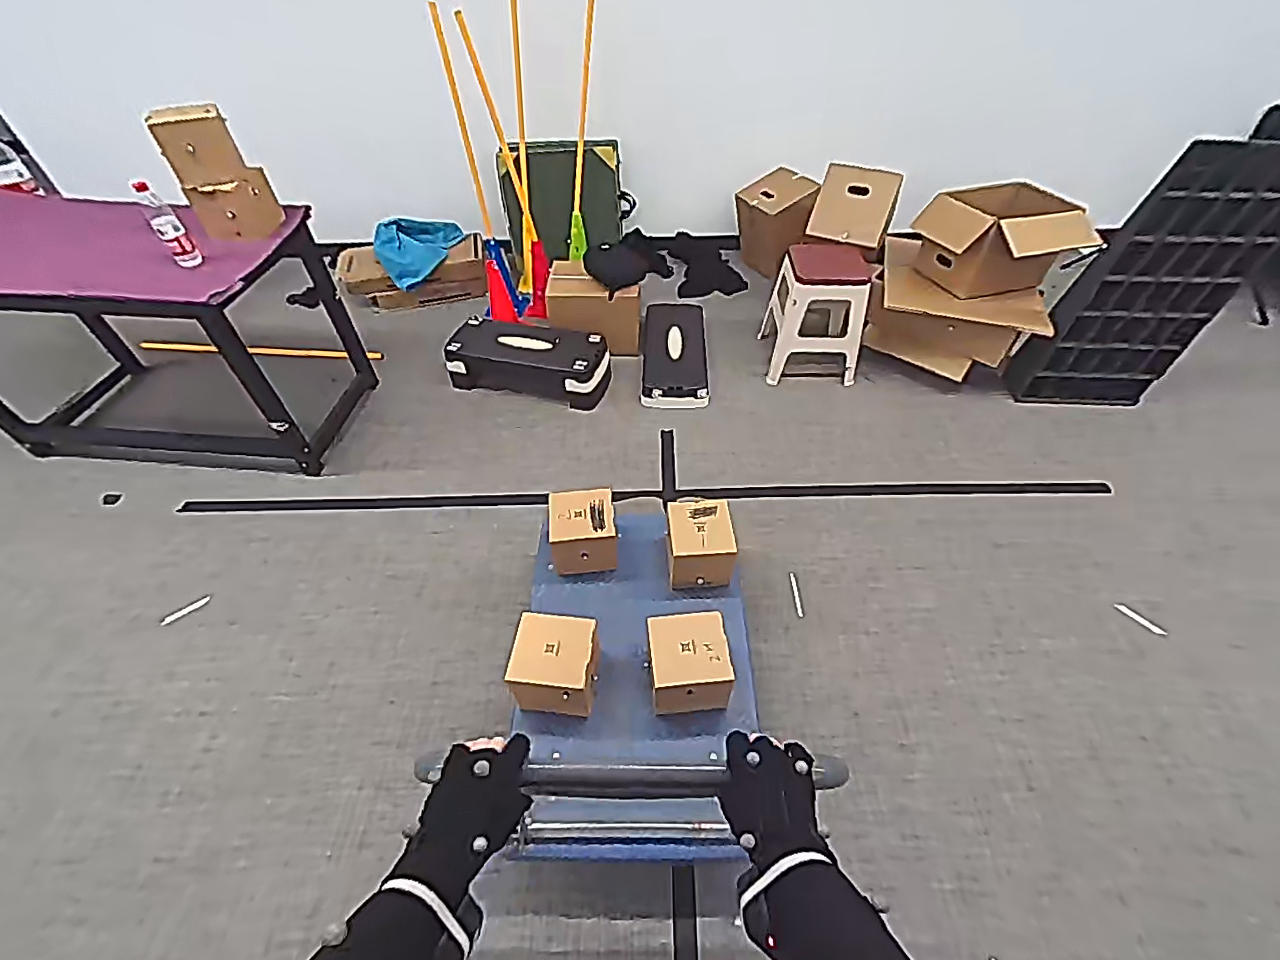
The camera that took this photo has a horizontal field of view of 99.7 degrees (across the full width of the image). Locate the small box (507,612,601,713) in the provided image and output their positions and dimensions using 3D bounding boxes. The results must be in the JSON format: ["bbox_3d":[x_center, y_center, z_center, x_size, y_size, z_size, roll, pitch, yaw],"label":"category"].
[{"bbox_3d":[-0.193,0.431,1.271,0.179,0.176,0.168,5,48,4],"label":"small box"}]

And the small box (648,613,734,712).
[{"bbox_3d":[0.112,0.431,1.268,0.179,0.176,0.168,-4,49,-3],"label":"small box"}]

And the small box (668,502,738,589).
[{"bbox_3d":[0.166,0.181,1.490,0.168,0.176,0.179,-3,49,-1],"label":"small box"}]
